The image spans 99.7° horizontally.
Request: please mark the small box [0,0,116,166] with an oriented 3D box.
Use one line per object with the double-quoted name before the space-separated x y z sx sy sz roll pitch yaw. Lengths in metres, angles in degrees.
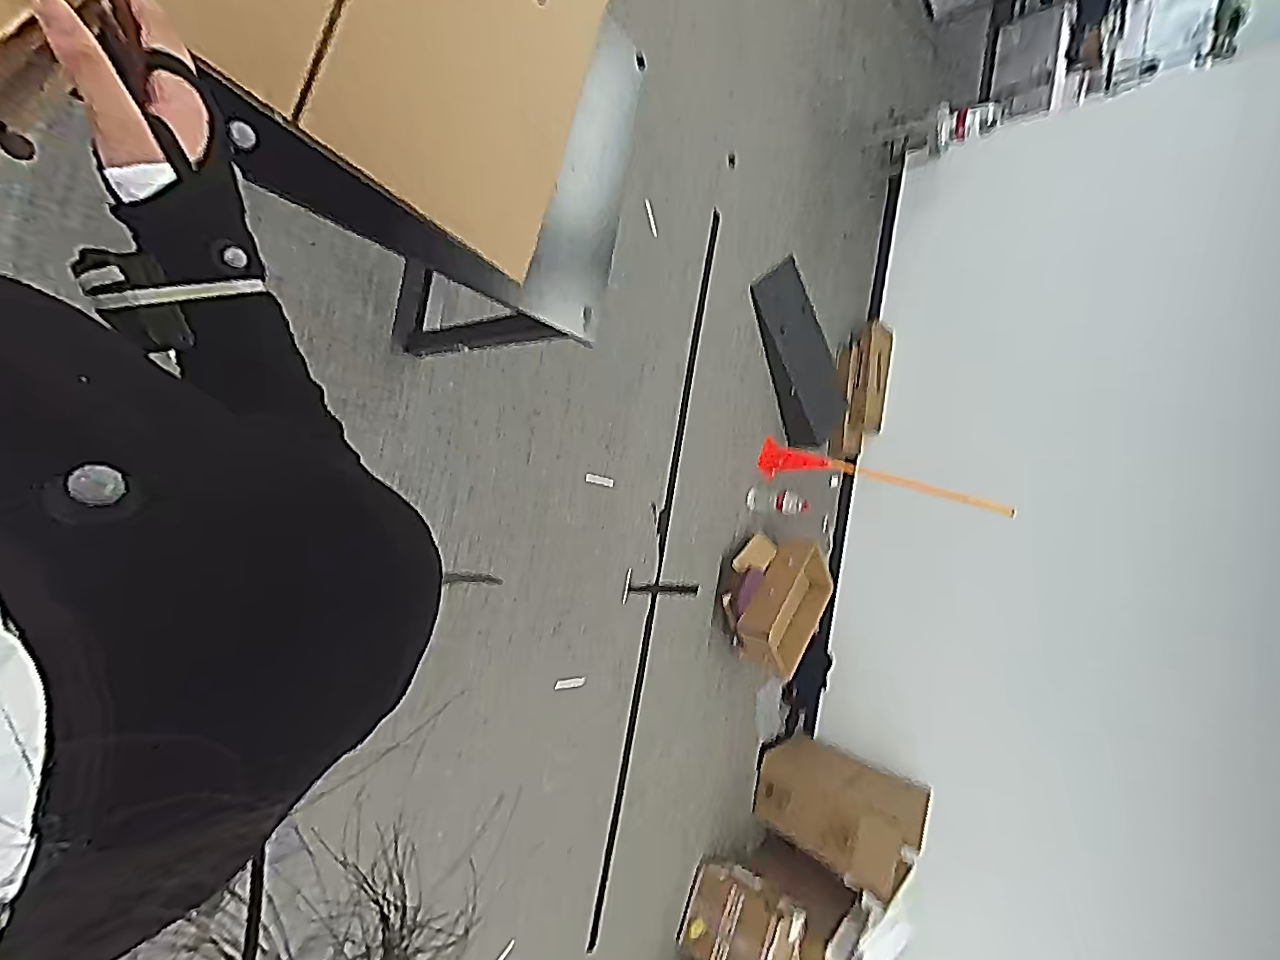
"small box" -0.422 -0.258 0.267 0.168 0.176 0.179 42 61 -42
